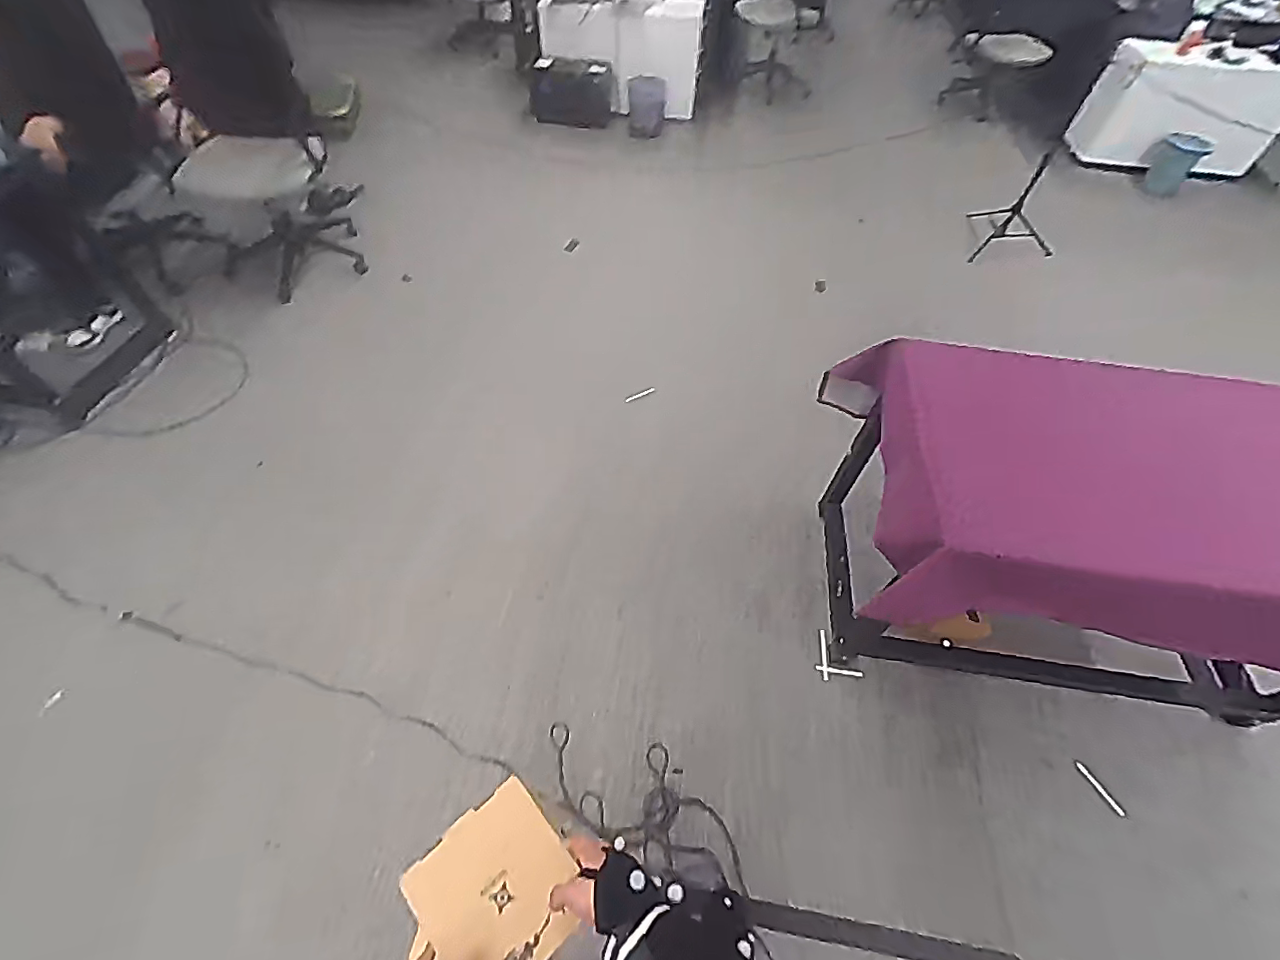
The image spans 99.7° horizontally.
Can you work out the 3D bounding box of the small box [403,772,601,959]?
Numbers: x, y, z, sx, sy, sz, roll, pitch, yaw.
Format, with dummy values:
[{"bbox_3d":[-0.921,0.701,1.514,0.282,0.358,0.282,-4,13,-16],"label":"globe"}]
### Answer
[{"bbox_3d":[-0.165,0.514,0.689,0.168,0.176,0.179,-35,64,-23],"label":"small box"}]
